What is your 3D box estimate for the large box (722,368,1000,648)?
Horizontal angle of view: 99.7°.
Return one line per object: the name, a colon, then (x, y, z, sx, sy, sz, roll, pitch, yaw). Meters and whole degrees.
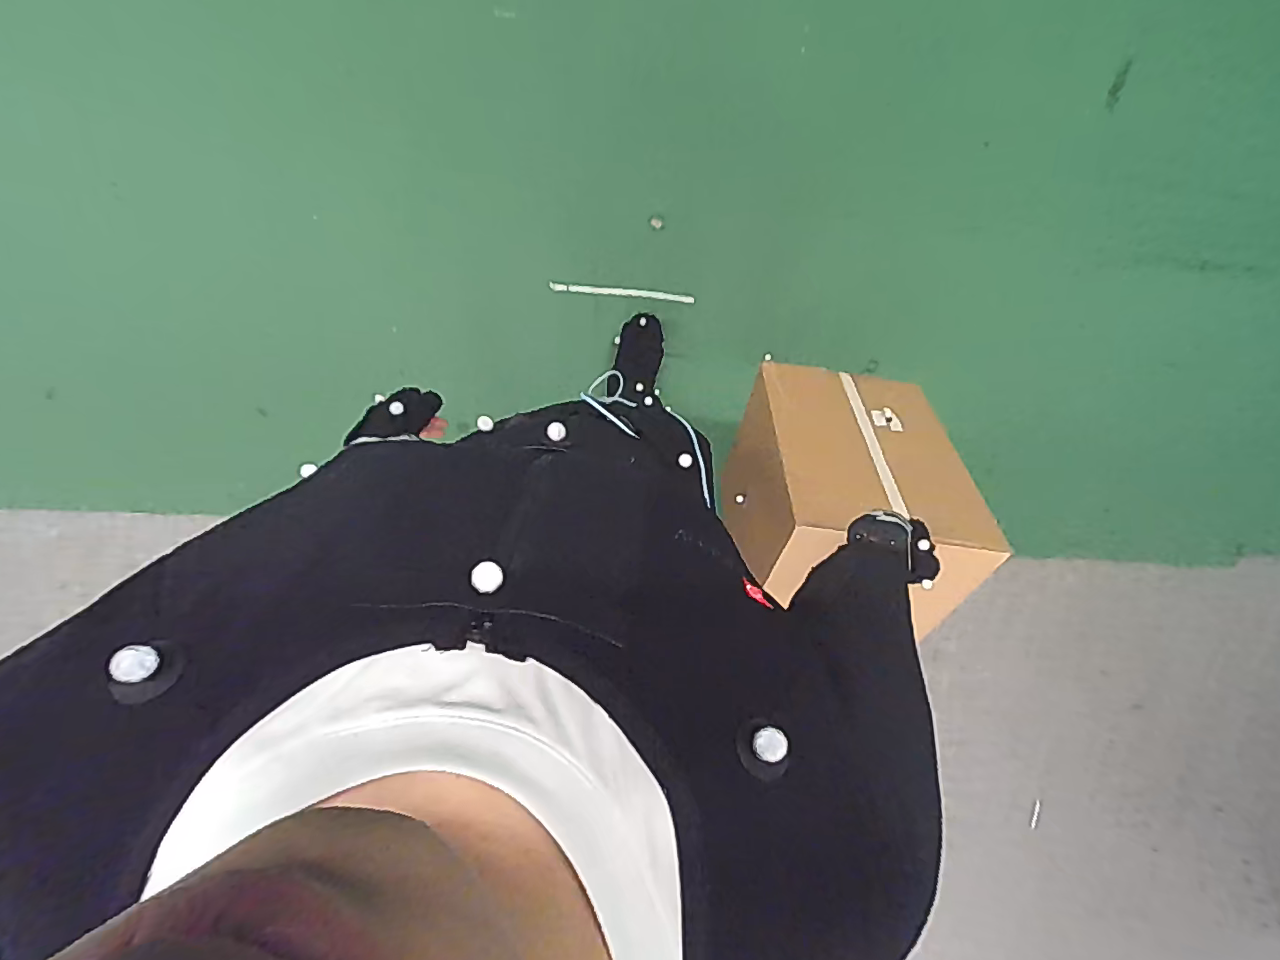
large box: (0.347, 0.048, 0.995, 0.320, 0.408, 0.320, 8, 133, -5)
